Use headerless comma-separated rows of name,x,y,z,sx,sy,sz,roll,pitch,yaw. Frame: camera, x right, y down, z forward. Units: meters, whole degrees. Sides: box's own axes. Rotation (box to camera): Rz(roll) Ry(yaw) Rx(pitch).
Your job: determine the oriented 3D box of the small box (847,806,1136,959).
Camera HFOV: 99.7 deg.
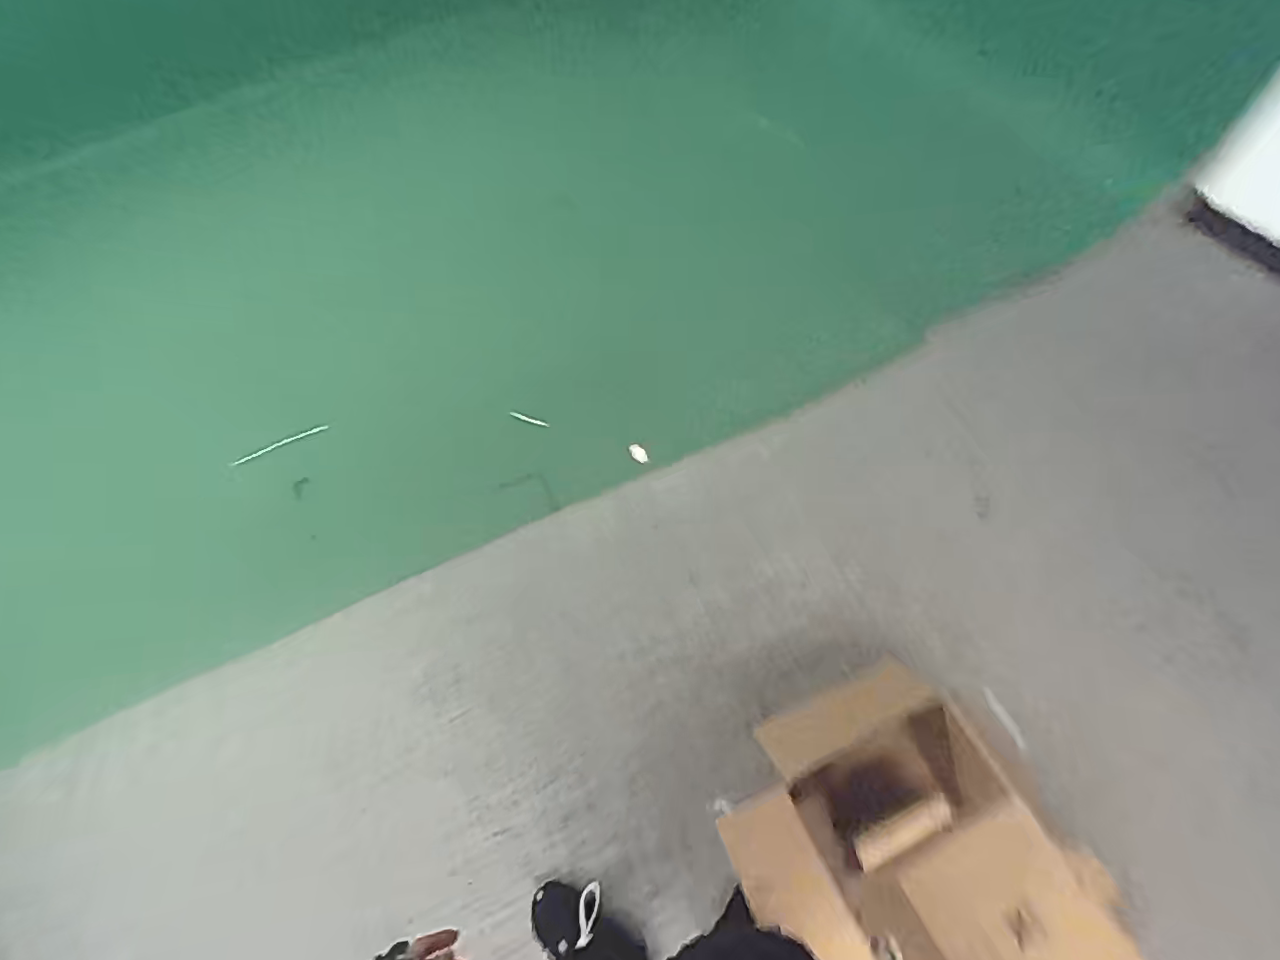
small box,0.357,0.479,0.574,0.179,0.176,0.168,-17,54,-16
